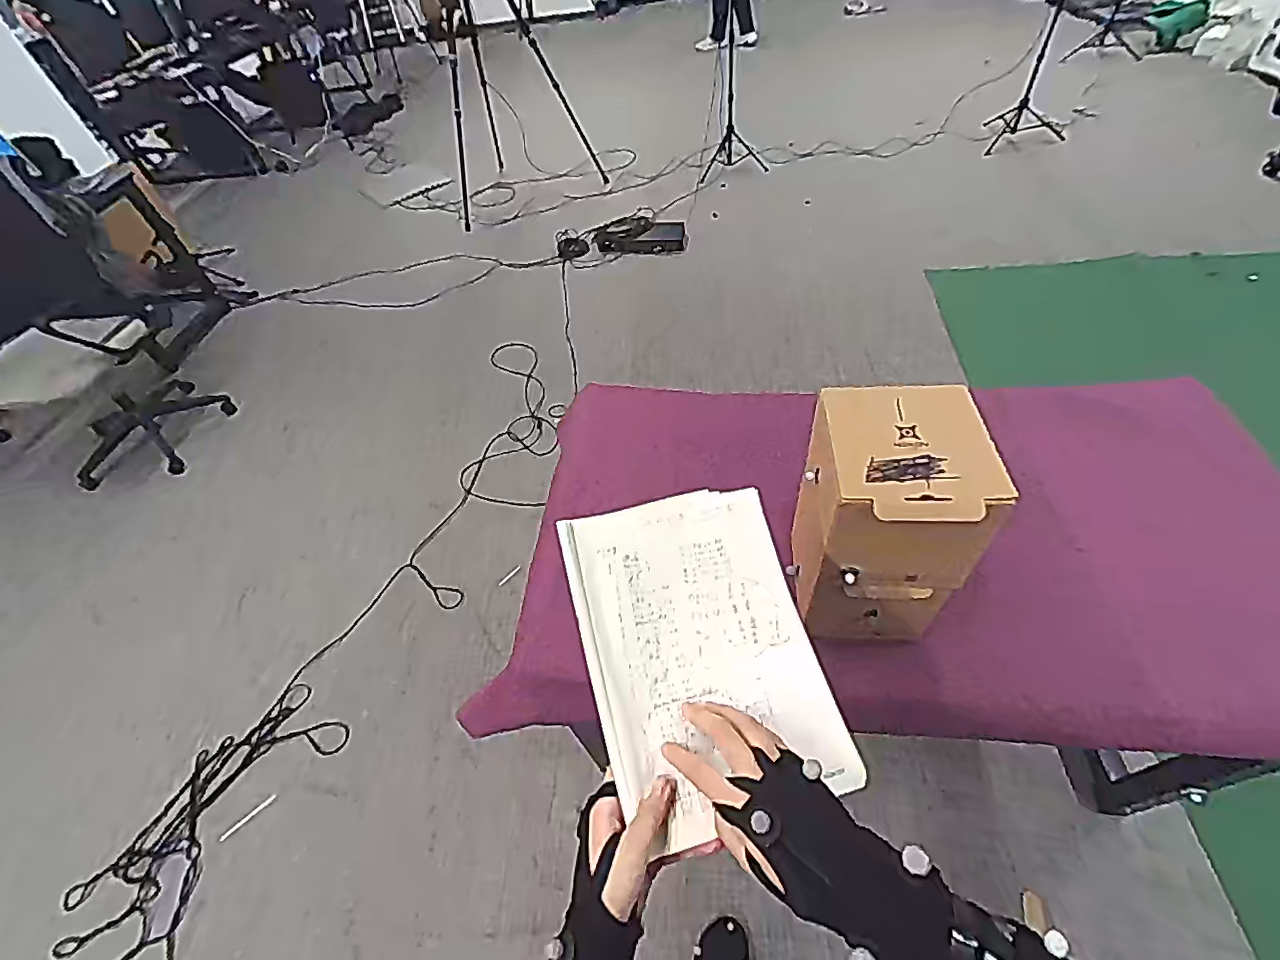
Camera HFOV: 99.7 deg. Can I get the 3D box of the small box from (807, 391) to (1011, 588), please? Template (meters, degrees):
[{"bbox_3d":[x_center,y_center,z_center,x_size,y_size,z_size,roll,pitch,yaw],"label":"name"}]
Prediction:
[{"bbox_3d":[0.299,0.015,0.647,0.168,0.176,0.179,1,49,9],"label":"small box"}]

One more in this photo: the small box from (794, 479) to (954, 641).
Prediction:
[{"bbox_3d":[0.318,0.117,0.776,0.168,0.176,0.179,0,50,8],"label":"small box"}]
